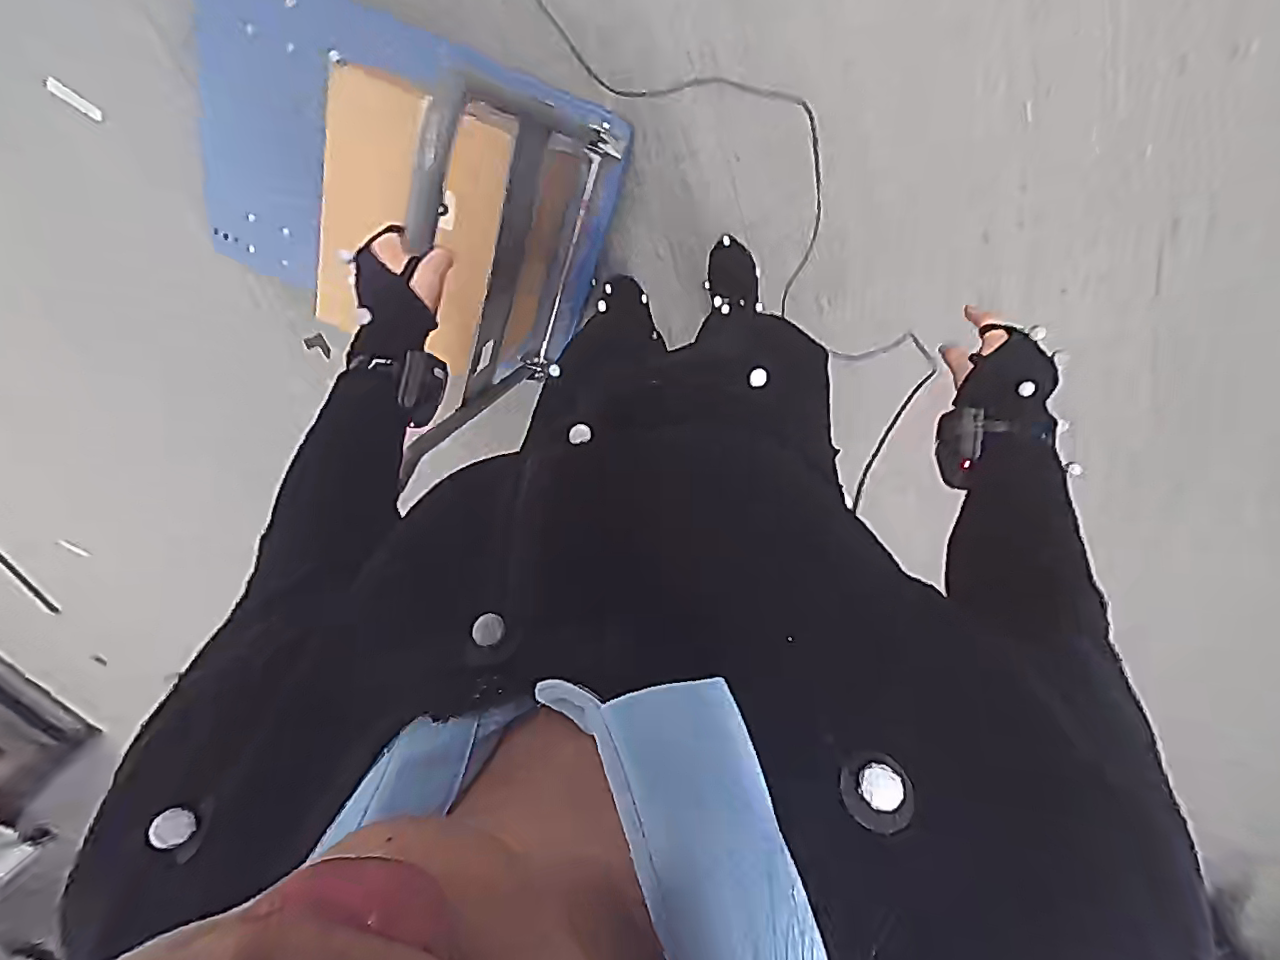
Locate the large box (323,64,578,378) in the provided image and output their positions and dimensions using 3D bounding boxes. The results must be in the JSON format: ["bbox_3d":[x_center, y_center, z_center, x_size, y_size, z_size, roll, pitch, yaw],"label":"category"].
[{"bbox_3d":[-0.348,-0.466,1.029,0.320,0.320,0.408,22,118,-3],"label":"large box"}]
